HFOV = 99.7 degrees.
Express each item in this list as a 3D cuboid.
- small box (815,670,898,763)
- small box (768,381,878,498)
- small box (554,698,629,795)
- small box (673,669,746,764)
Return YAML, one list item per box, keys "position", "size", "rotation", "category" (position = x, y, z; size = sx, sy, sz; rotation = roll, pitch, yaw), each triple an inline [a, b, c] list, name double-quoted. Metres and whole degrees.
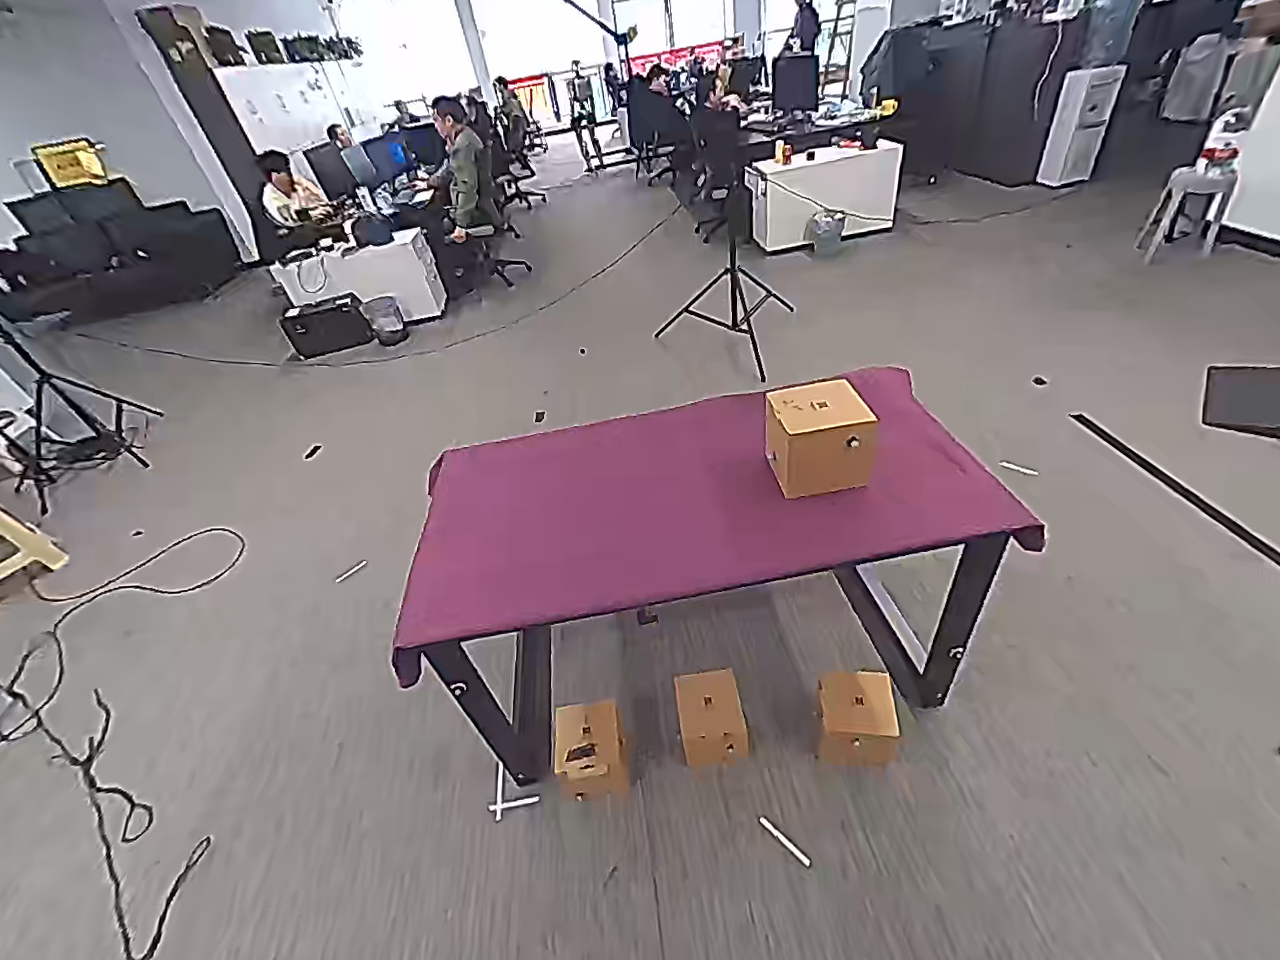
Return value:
- position: [0.557, 0.619, 1.412]
  size: [0.179, 0.176, 0.168]
  rotation: [-1, 41, 14]
  category: "small box"
- position: [0.374, -0.084, 1.143]
  size: [0.179, 0.176, 0.168]
  rotation: [-10, 38, 2]
  category: "small box"
- position: [-0.127, 0.719, 1.446]
  size: [0.168, 0.176, 0.179]
  rotation: [-10, 38, 1]
  category: "small box"
- position: [0.188, 0.646, 1.464]
  size: [0.168, 0.176, 0.179]
  rotation: [-9, 38, 1]
  category: "small box"
